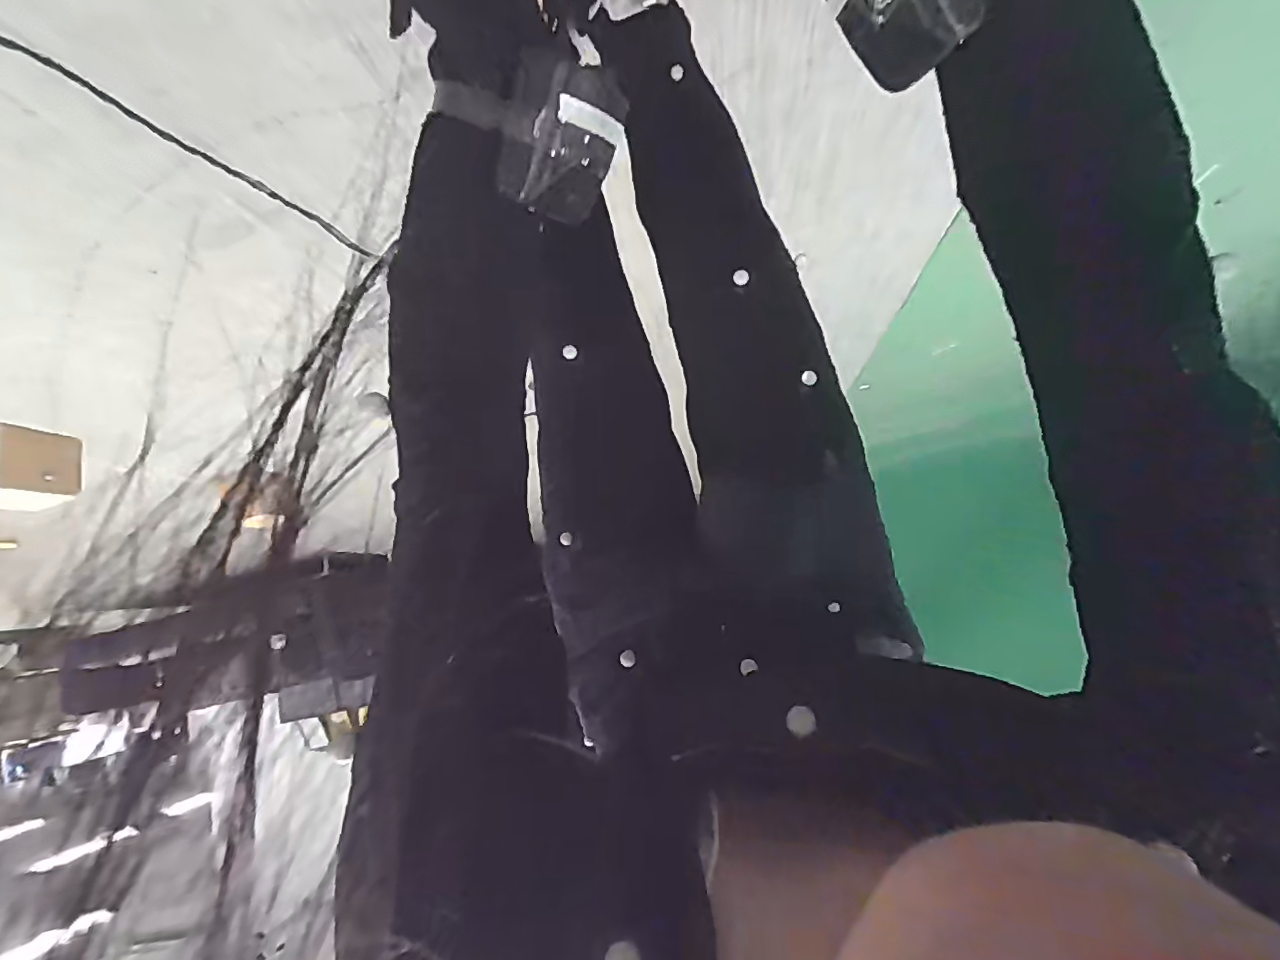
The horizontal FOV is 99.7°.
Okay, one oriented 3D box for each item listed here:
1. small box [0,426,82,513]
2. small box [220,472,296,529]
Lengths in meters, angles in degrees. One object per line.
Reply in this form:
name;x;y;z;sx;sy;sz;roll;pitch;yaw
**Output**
small box;-1.578;-0.026;1.364;0.168;0.176;0.179;-15;169;9
small box;-1.429;0.078;2.025;0.179;0.176;0.168;-14;169;9
